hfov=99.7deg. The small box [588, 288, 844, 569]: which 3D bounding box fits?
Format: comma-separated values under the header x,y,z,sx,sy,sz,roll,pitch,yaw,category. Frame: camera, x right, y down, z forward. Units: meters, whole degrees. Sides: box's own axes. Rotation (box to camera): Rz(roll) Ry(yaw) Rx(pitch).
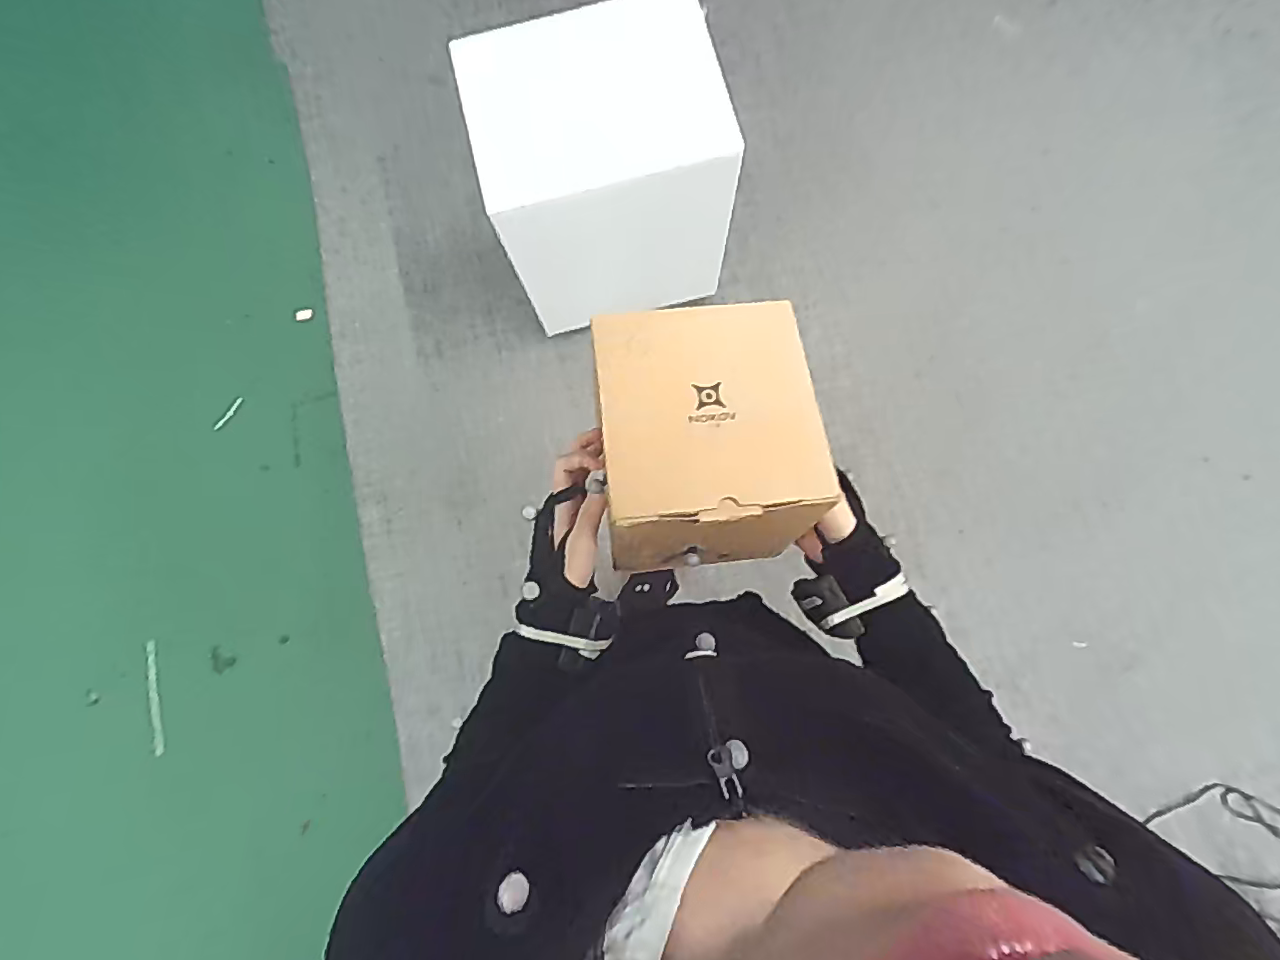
x,y,z,sx,sy,sz,roll,pitch,yaw,category
0.045,-0.035,0.463,0.168,0.176,0.179,-6,68,-4,small box
